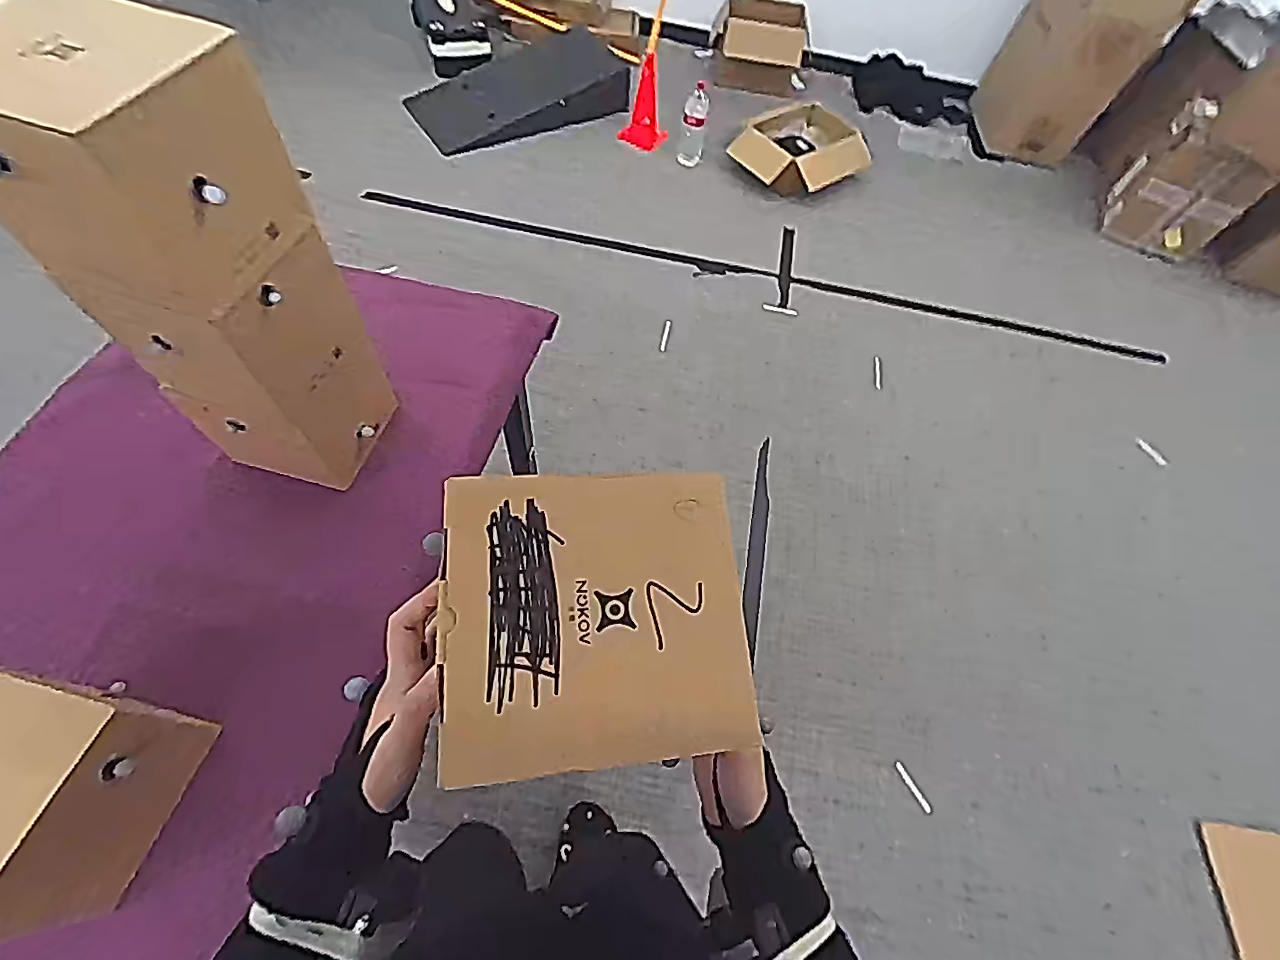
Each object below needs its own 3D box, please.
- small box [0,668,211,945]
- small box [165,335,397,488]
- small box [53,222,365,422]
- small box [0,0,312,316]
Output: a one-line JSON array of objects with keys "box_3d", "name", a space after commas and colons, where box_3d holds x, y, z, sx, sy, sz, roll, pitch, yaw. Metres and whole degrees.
[{"box_3d": [-0.561, 0.294, 0.508, 0.168, 0.176, 0.179, 14, 60, 3], "name": "small box"}, {"box_3d": [-0.474, -0.108, 0.749, 0.179, 0.176, 0.168, 14, 60, 2], "name": "small box"}, {"box_3d": [-0.454, -0.188, 0.608, 0.179, 0.176, 0.168, 16, 60, 4], "name": "small box"}, {"box_3d": [-0.432, -0.268, 0.467, 0.179, 0.176, 0.168, 16, 60, 3], "name": "small box"}]
